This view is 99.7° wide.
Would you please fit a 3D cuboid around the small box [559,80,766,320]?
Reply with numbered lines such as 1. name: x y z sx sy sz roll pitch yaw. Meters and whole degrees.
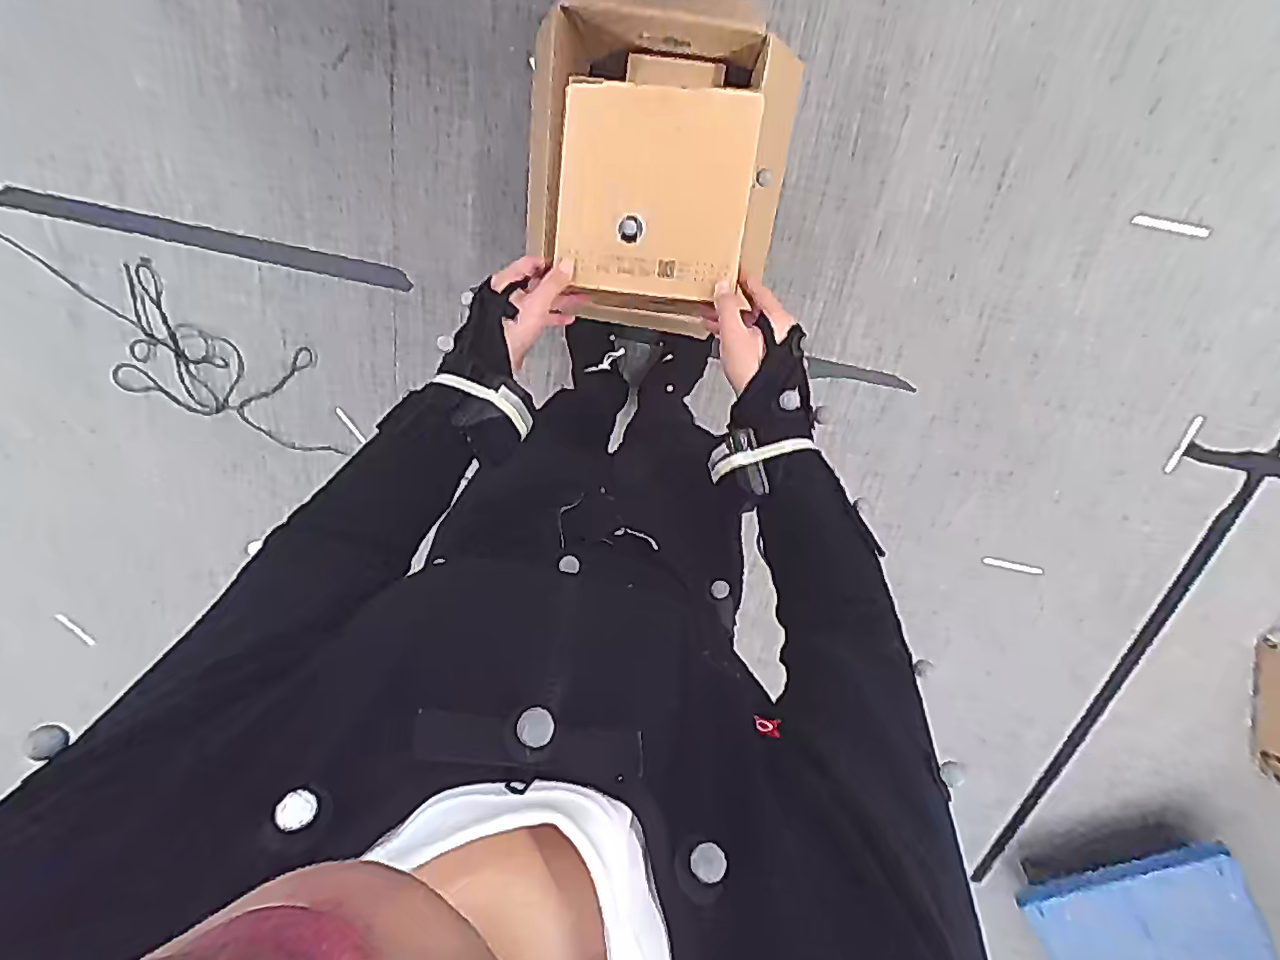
1. small box: 0.025 -0.254 0.534 0.168 0.179 0.176 9 104 9
